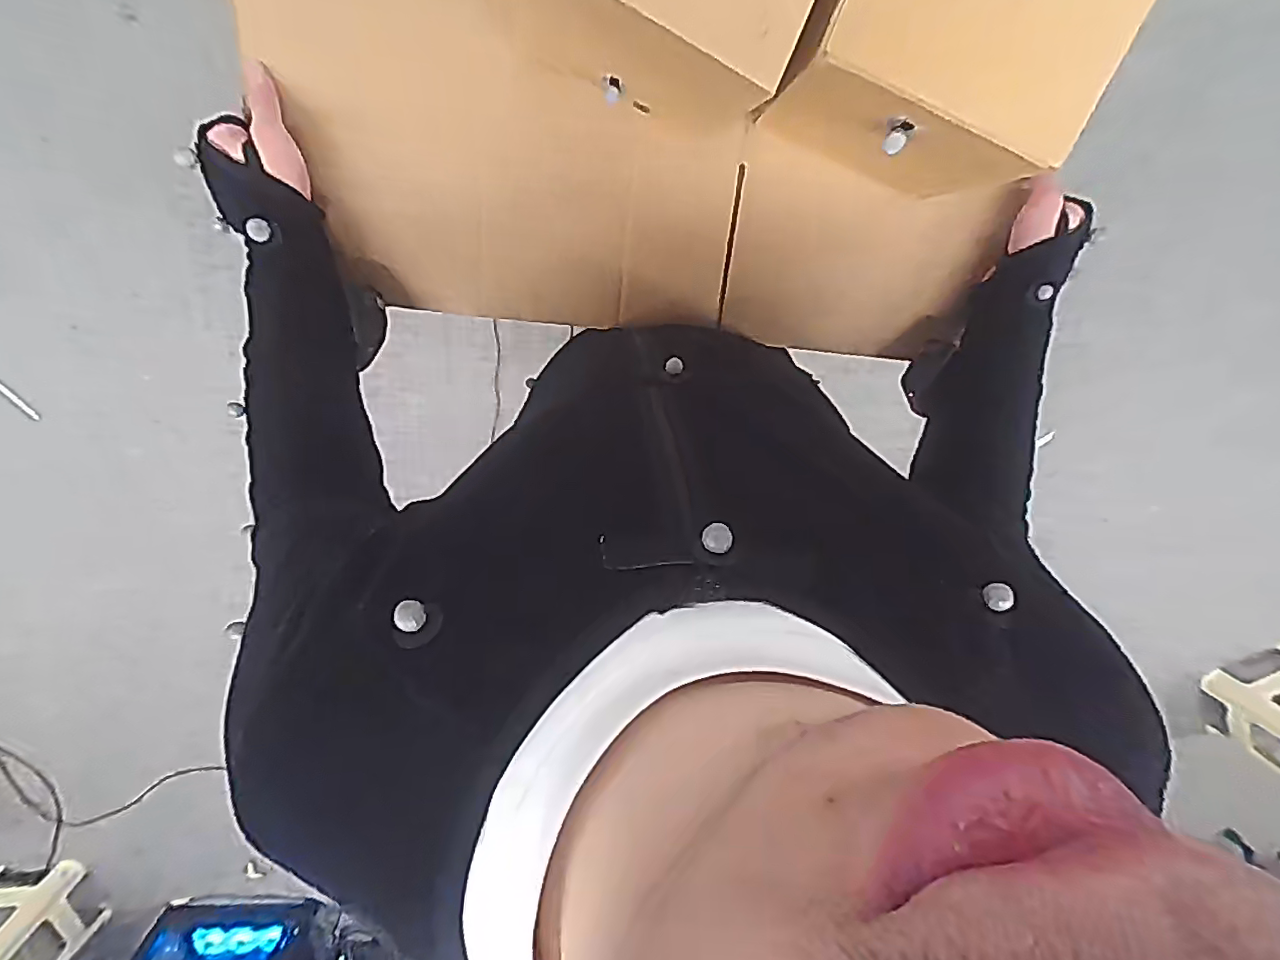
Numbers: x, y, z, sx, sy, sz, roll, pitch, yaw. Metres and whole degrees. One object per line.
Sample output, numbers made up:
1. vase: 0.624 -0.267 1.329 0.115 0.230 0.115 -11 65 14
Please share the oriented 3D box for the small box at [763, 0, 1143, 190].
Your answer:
1. small box: 0.216 -0.332 0.395 0.179 0.176 0.168 19 109 -9
